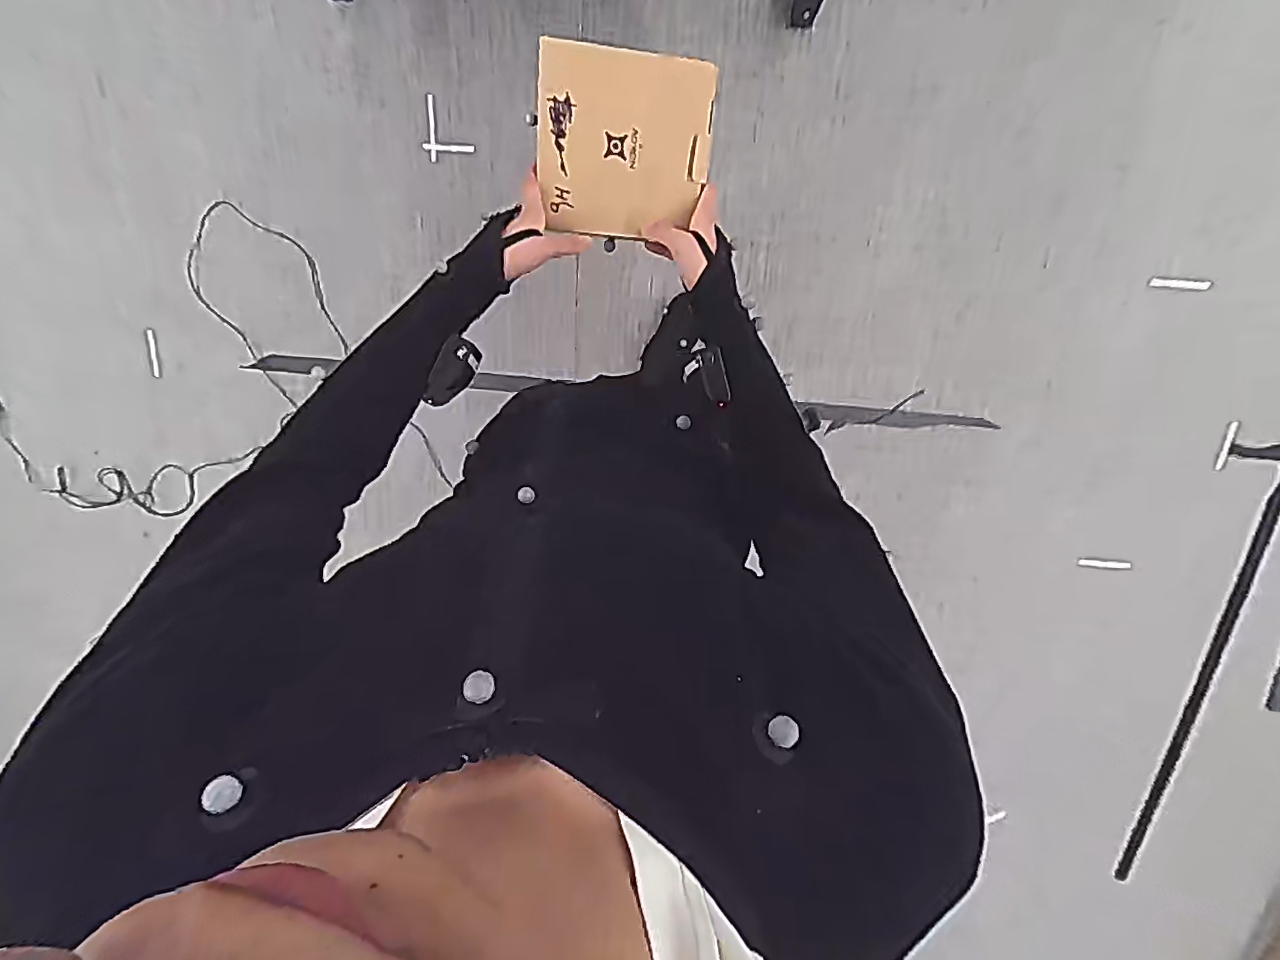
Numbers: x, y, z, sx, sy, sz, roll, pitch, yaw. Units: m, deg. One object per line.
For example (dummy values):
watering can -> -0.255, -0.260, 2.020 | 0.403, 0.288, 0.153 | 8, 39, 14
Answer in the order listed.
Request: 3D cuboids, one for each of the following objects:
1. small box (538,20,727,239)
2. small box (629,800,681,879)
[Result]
small box -> -0.020, -0.371, 0.605 | 0.179, 0.176, 0.168 | 3, 113, -9
small box -> 0.057, 1.278, 1.922 | 0.168, 0.176, 0.179 | -6, 106, 4
